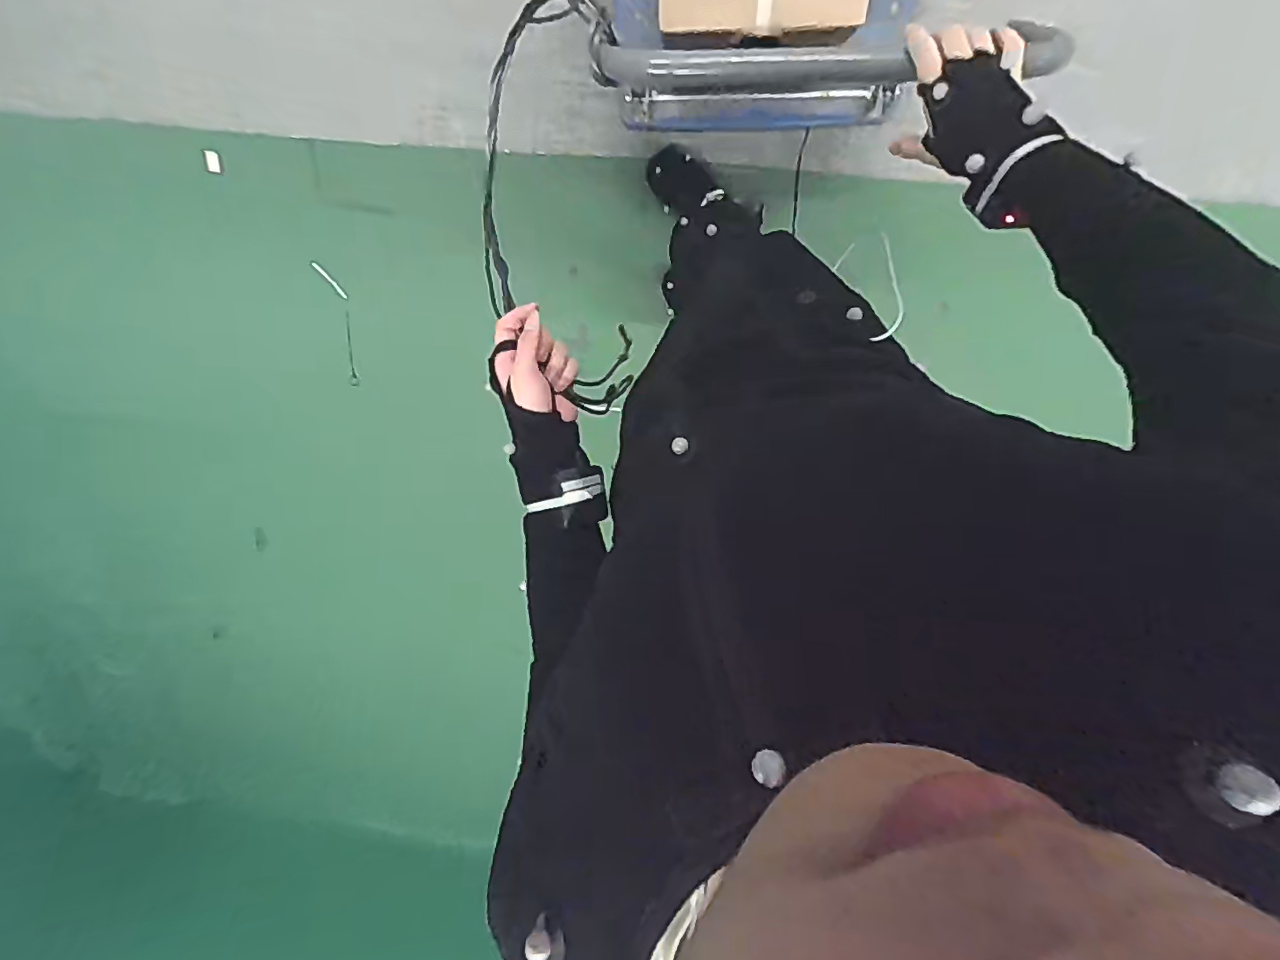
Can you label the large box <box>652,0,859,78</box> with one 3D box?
[{"bbox_3d":[0.183,-0.931,0.876,0.320,0.320,0.408,2,117,3],"label":"large box"}]
